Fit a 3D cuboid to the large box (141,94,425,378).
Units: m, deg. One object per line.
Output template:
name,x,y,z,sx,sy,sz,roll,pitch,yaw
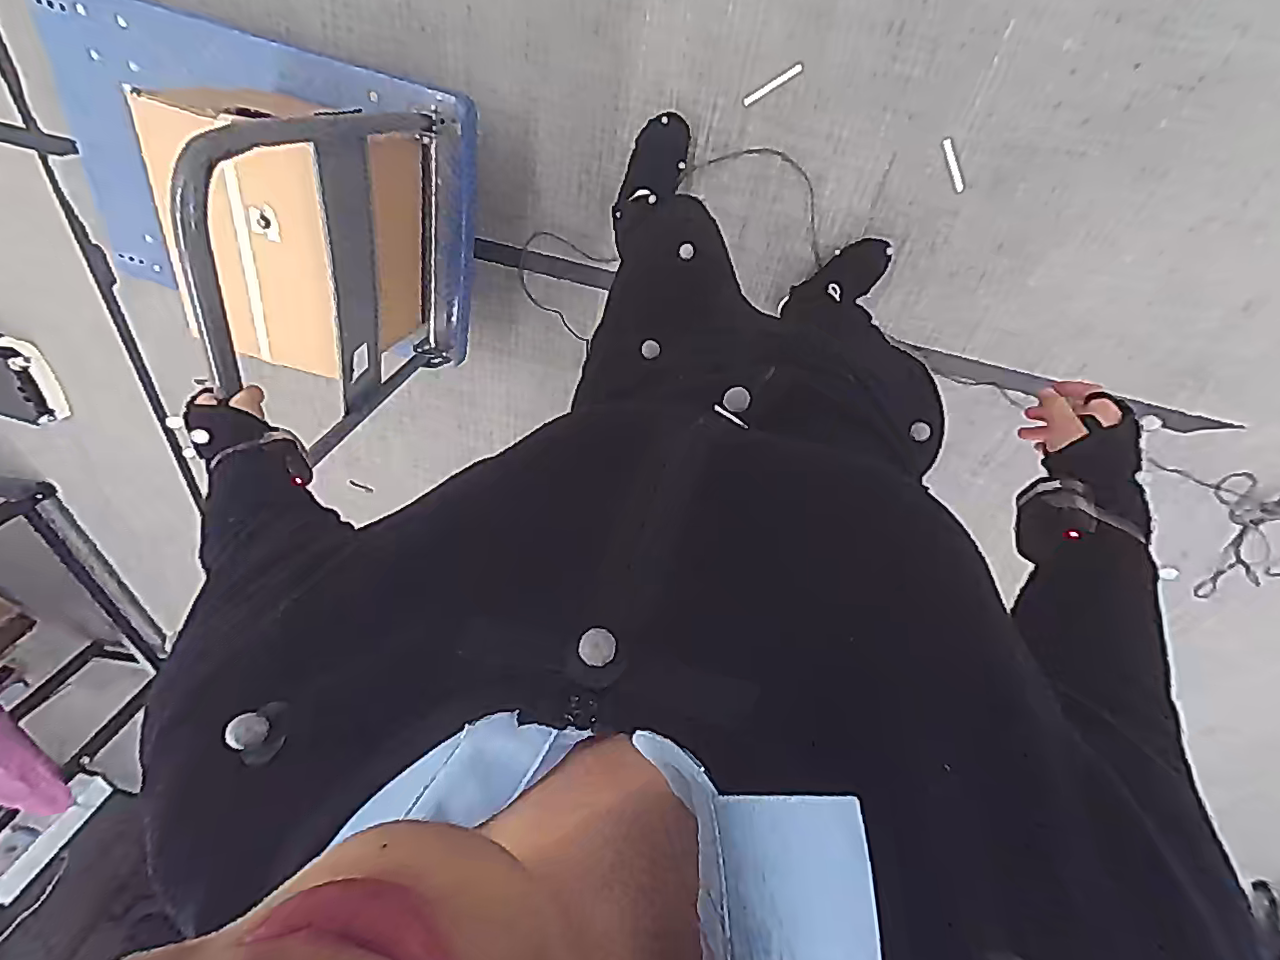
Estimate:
large box,-0.639,-0.474,1.061,0.320,0.320,0.408,16,125,-1
